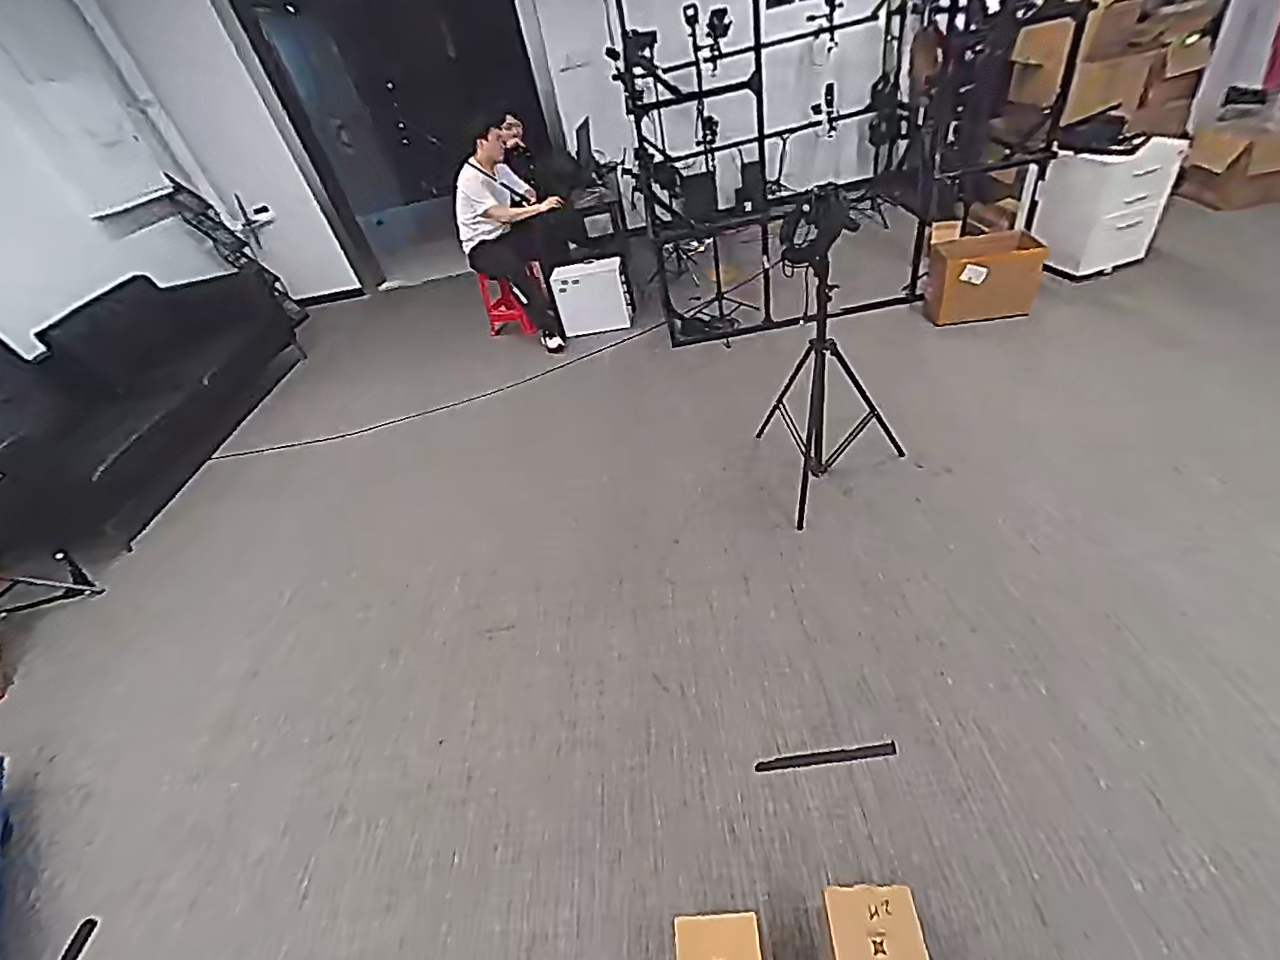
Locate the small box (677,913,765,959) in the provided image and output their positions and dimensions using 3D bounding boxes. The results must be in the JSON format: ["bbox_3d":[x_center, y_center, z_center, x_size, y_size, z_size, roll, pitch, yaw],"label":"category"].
[{"bbox_3d":[0.167,0.983,1.062,0.168,0.176,0.179,-9,40,7],"label":"small box"}]

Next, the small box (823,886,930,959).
[{"bbox_3d":[0.458,0.917,1.050,0.168,0.176,0.179,-7,40,8],"label":"small box"}]
